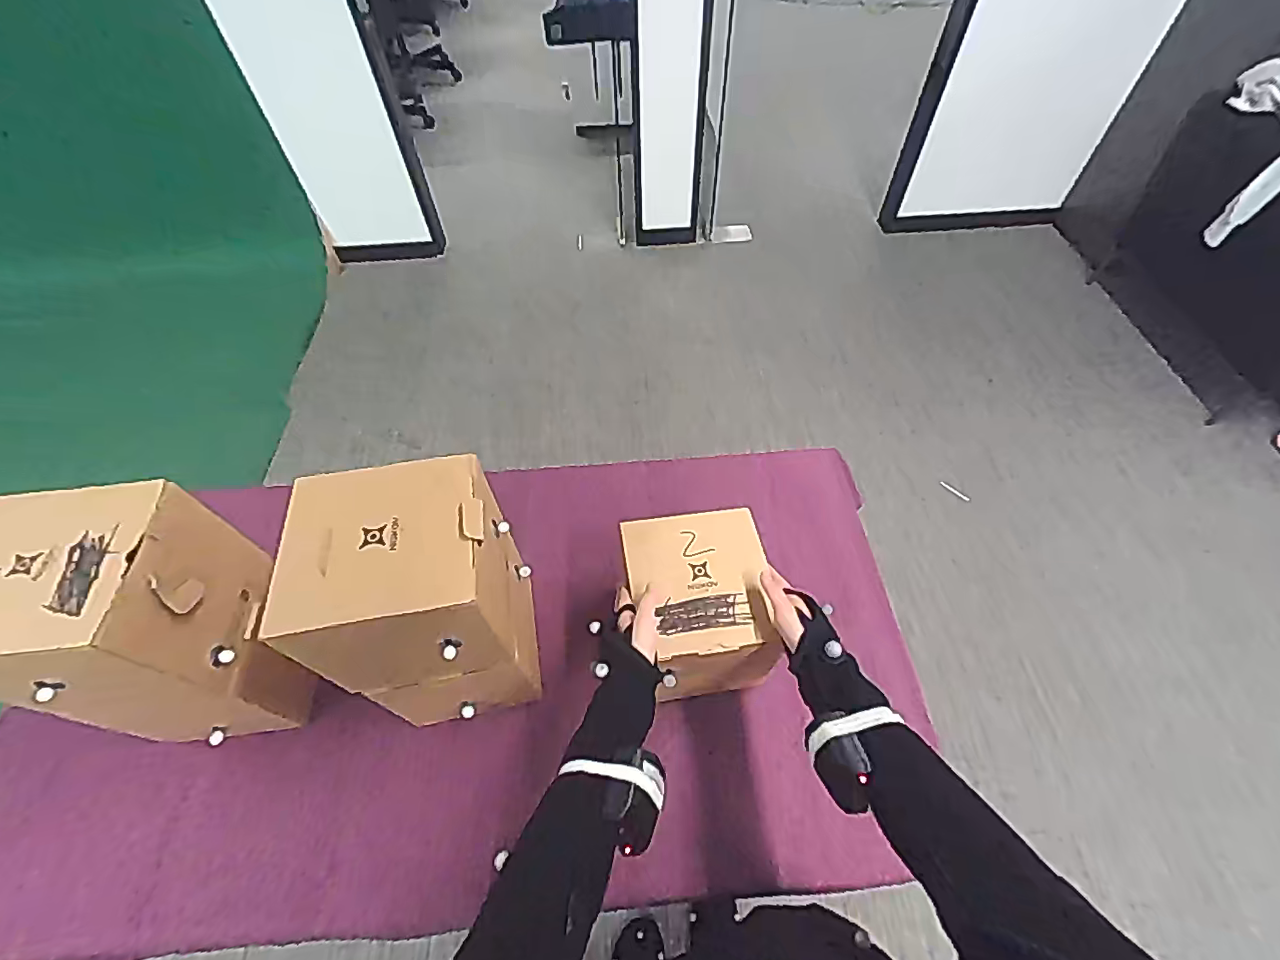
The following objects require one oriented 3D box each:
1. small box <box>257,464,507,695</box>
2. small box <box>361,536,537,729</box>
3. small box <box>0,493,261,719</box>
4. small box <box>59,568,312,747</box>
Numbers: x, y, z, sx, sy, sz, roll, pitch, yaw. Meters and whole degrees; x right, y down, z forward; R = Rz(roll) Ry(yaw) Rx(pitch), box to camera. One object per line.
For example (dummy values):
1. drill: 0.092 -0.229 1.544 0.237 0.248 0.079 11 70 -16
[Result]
1. small box: -0.238 0.107 0.557 0.179 0.176 0.168 -9 54 -4
2. small box: -0.232 0.198 0.693 0.168 0.176 0.179 -10 56 -5
3. small box: -0.532 0.131 0.545 0.179 0.176 0.168 -6 55 -2
4. small box: -0.530 0.226 0.679 0.179 0.176 0.168 -5 55 -3
